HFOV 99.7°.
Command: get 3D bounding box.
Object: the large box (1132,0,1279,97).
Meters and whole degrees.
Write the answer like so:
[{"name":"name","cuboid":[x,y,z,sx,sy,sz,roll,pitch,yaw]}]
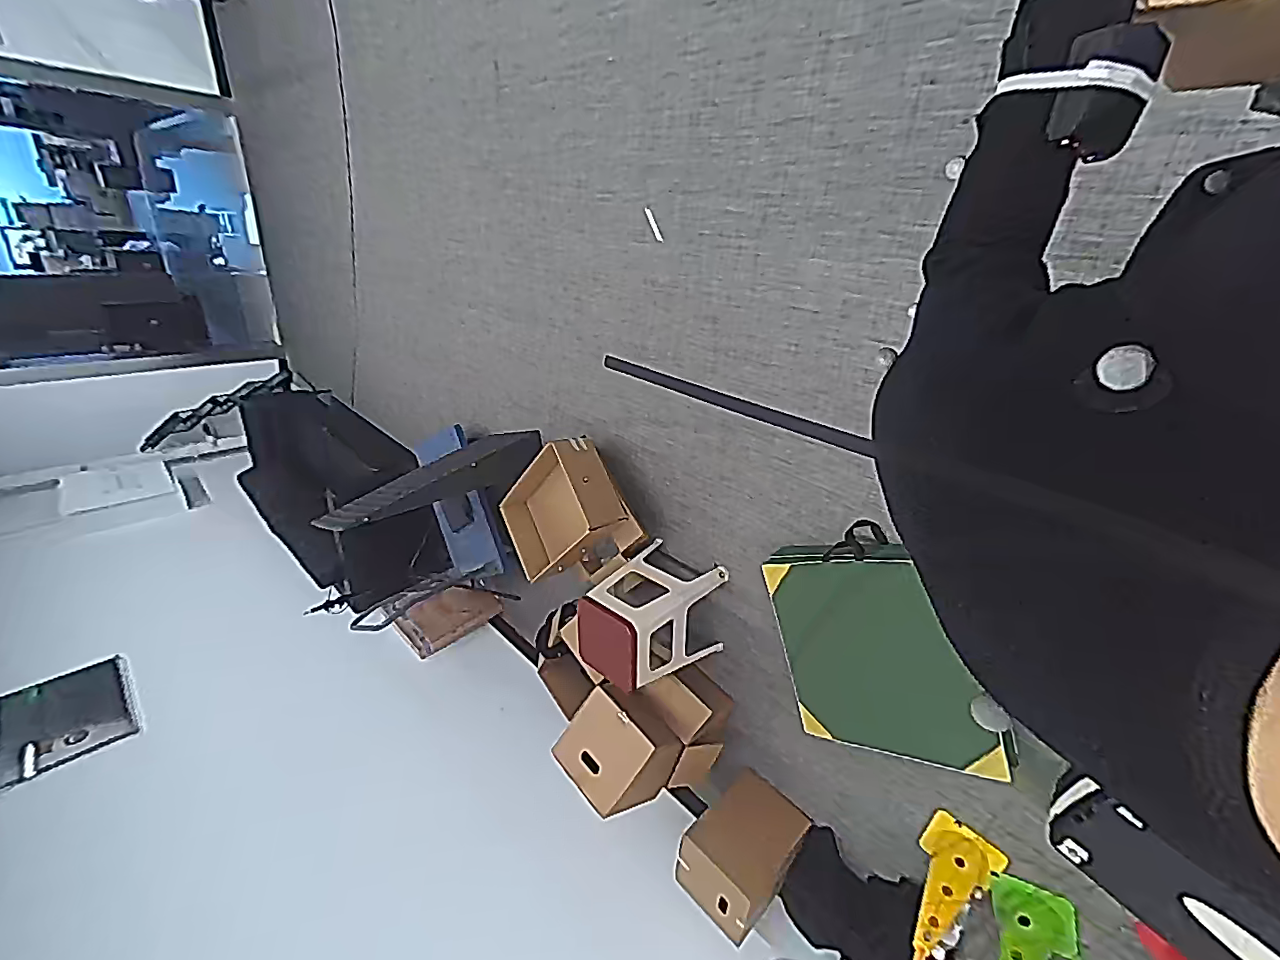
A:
[{"name":"large box","cuboid":[0.575,-0.429,0.274,0.408,0.320,0.320,24,125,39]}]
